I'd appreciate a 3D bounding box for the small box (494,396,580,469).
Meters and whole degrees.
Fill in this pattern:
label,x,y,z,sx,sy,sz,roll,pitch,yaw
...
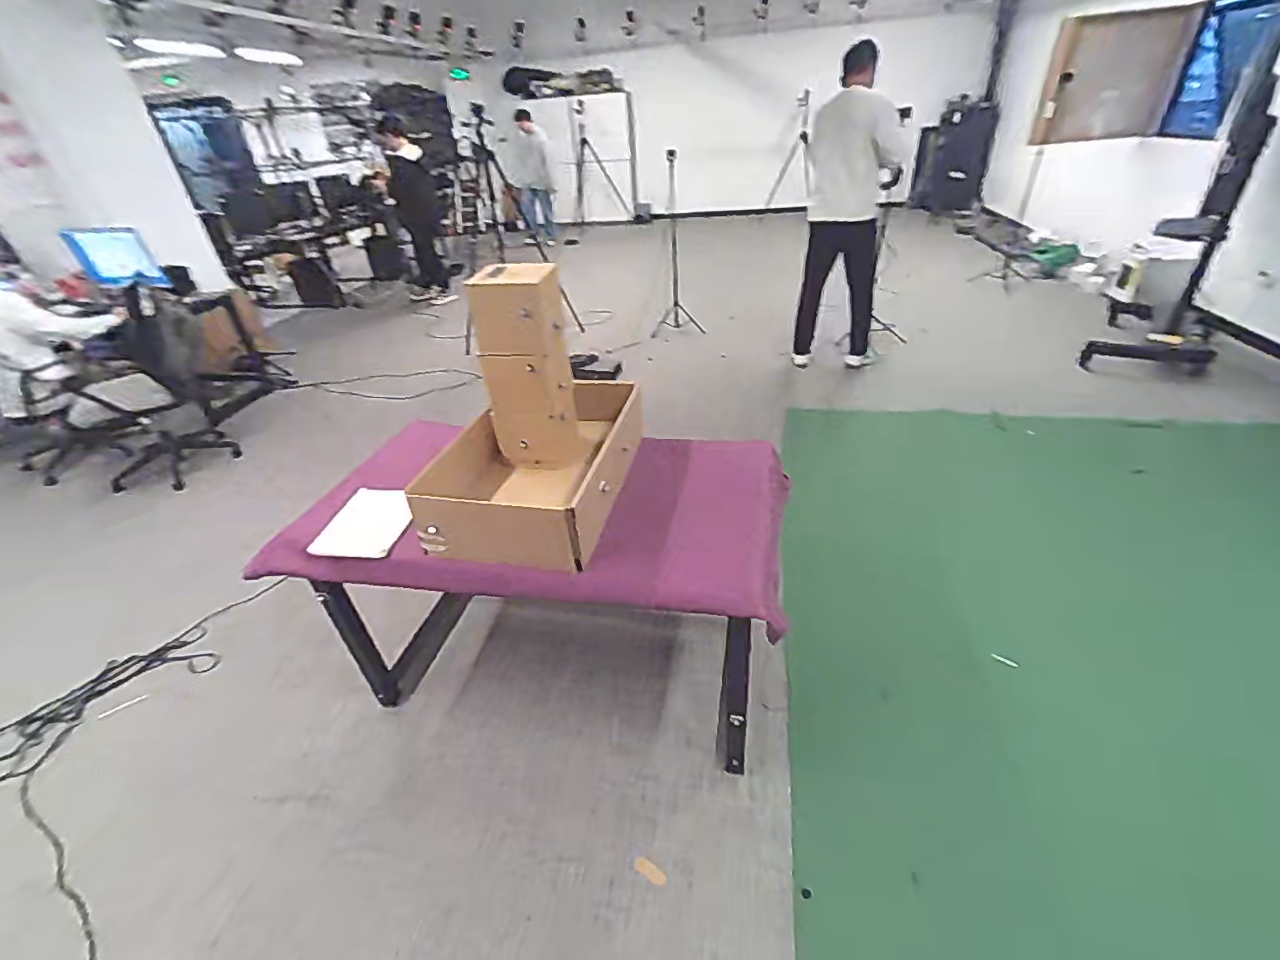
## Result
label,x,y,z,sx,sy,sz,roll,pitch,yaw
small box,-0.275,-0.145,1.496,0.168,0.176,0.179,4,37,14

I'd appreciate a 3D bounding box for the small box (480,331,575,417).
label,x,y,z,sx,sy,sz,roll,pitch,yaw
small box,-0.283,-0.274,1.399,0.179,0.176,0.168,3,37,11
